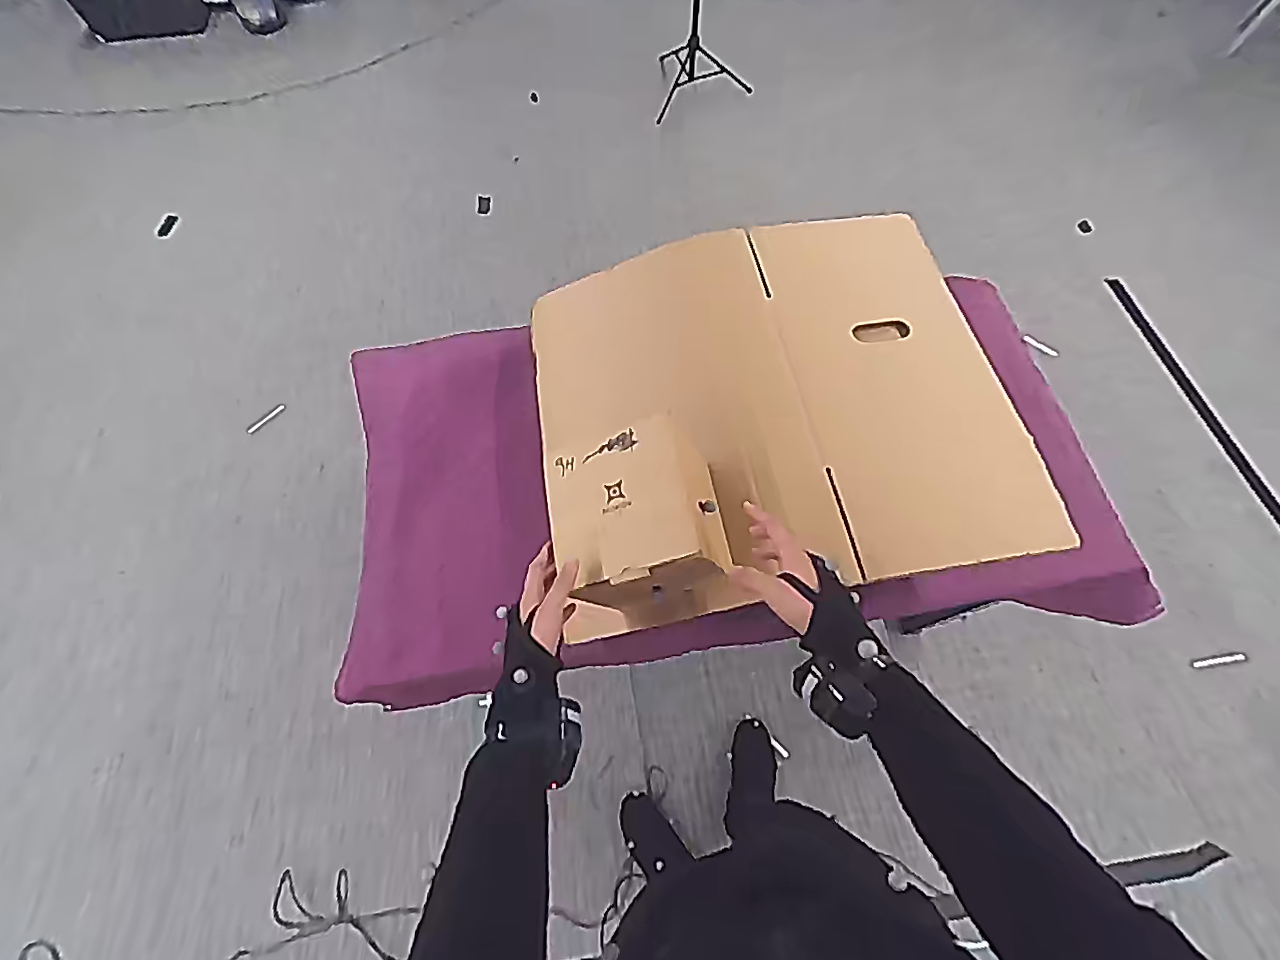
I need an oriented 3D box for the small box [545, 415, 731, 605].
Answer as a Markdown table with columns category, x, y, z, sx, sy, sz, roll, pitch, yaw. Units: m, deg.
| category | x | y | z | sx | sy | sz | roll | pitch | yaw |
| --- | --- | --- | --- | --- | --- | --- | --- | --- | --- |
| small box | 0.003 | 0.051 | 0.670 | 0.168 | 0.176 | 0.179 | -18 | 66 | 15 |
